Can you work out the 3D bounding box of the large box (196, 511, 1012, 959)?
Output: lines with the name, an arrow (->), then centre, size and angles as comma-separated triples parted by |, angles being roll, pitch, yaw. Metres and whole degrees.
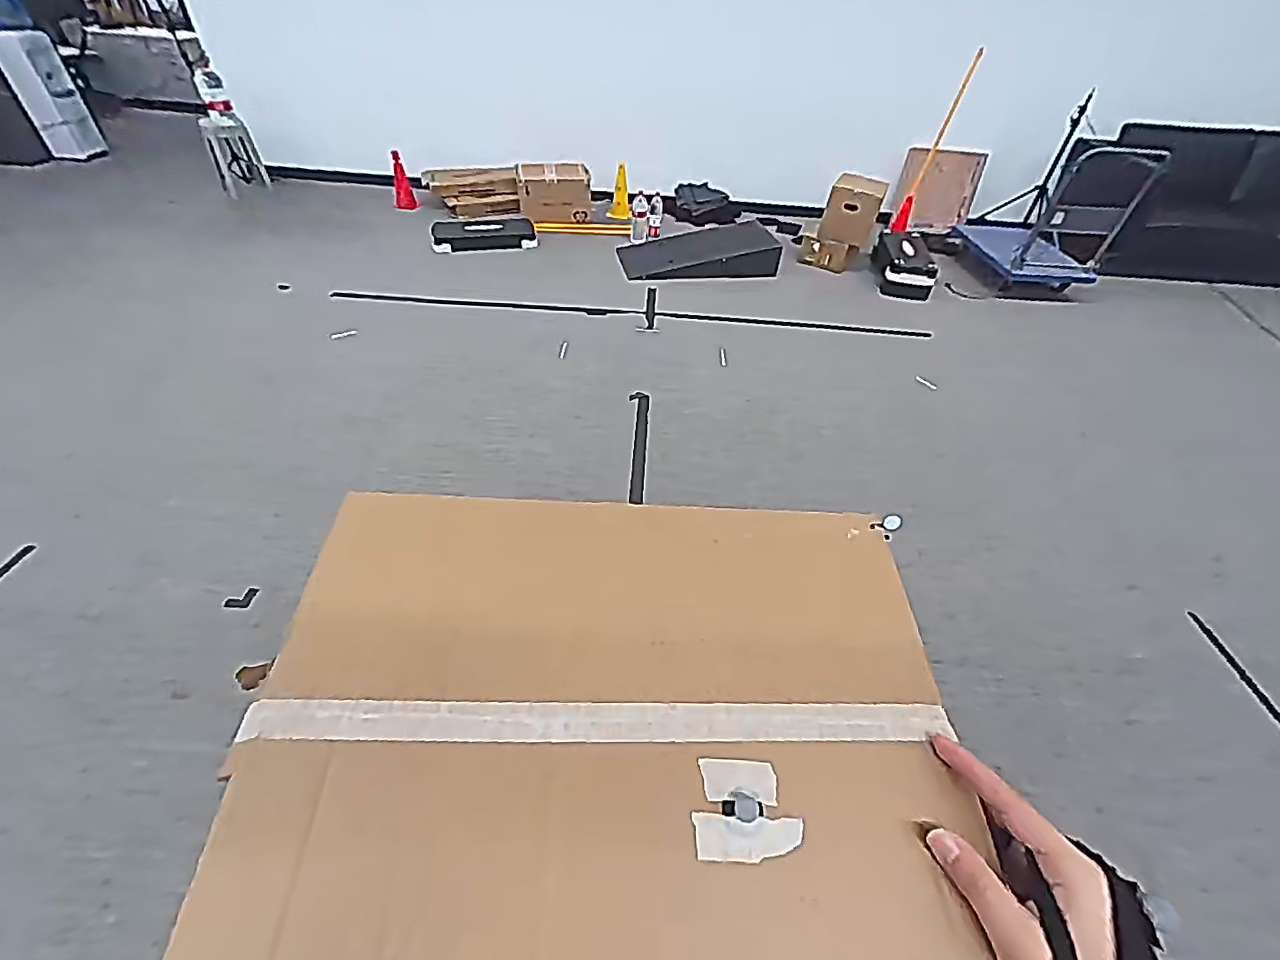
large box -> -0.025, 0.242, 0.442 | 0.408, 0.320, 0.320 | 3, 53, -5
